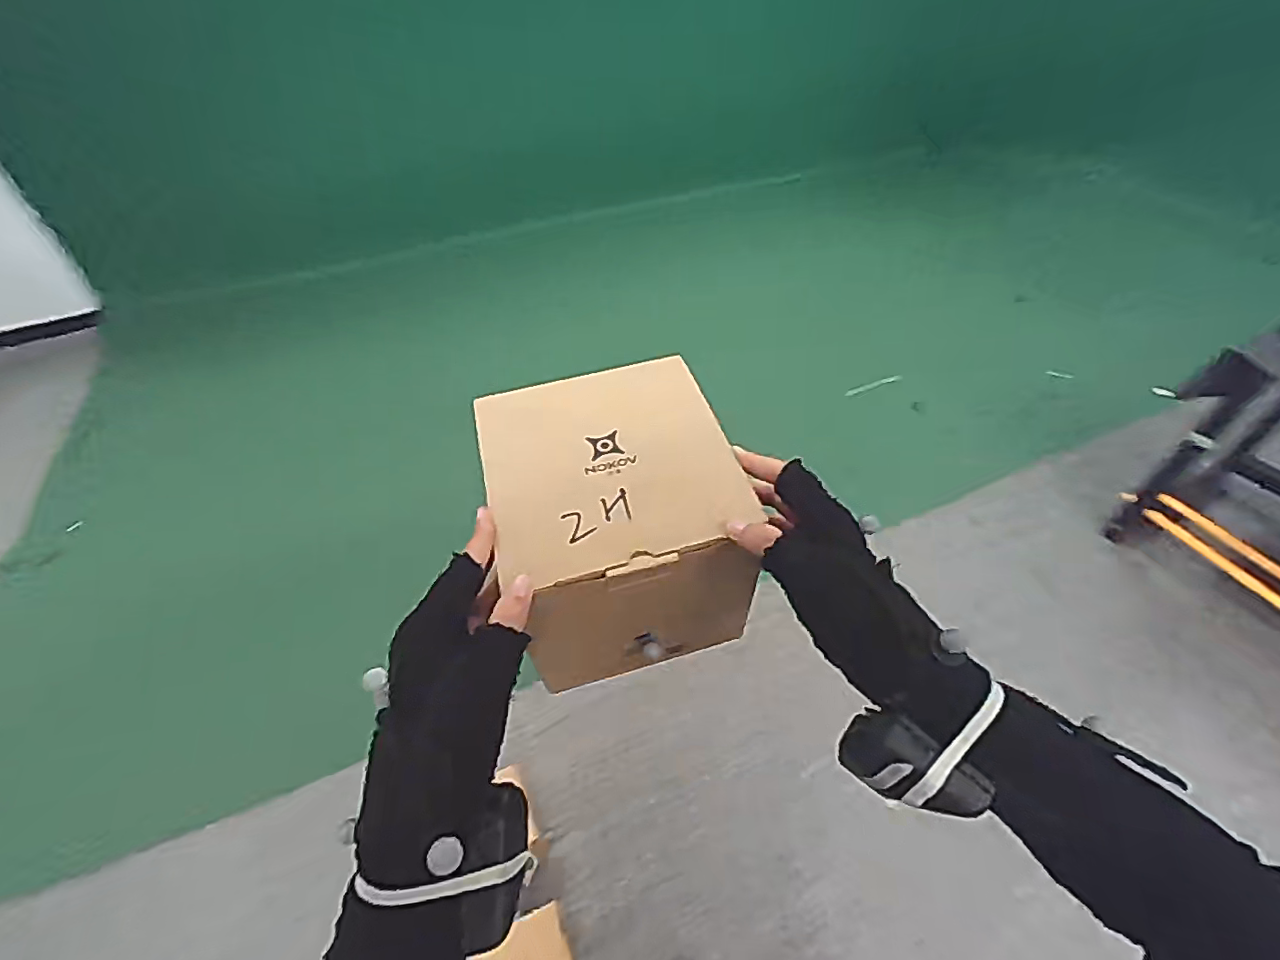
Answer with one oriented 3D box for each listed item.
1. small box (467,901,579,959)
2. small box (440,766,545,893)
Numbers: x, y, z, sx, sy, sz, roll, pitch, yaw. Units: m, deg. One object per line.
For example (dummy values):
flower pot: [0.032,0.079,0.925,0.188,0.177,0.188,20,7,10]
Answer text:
small box: [-0.211,0.953,1.033,0.179,0.176,0.168,-18,47,-15]
small box: [-0.321,0.780,1.208,0.179,0.176,0.168,-21,48,-16]
